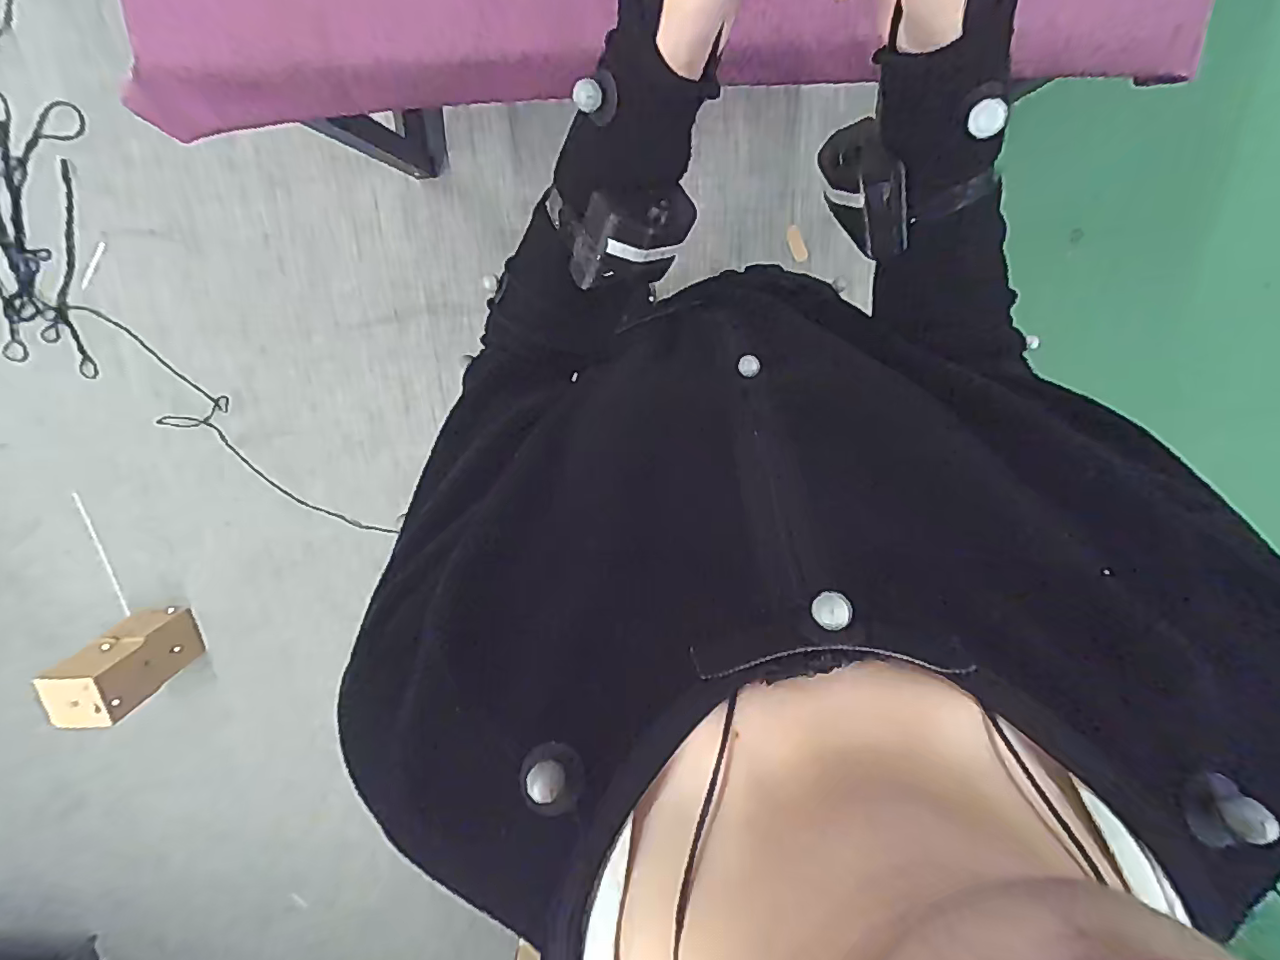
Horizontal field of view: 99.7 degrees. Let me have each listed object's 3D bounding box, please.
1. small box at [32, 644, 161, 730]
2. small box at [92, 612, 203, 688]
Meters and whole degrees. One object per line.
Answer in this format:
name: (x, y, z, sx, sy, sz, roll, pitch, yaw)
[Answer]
small box: (-1.544, 0.587, 1.547, 0.179, 0.176, 0.168, -1, 109, 4)
small box: (-1.538, 0.529, 1.700, 0.168, 0.176, 0.179, -2, 109, 4)
